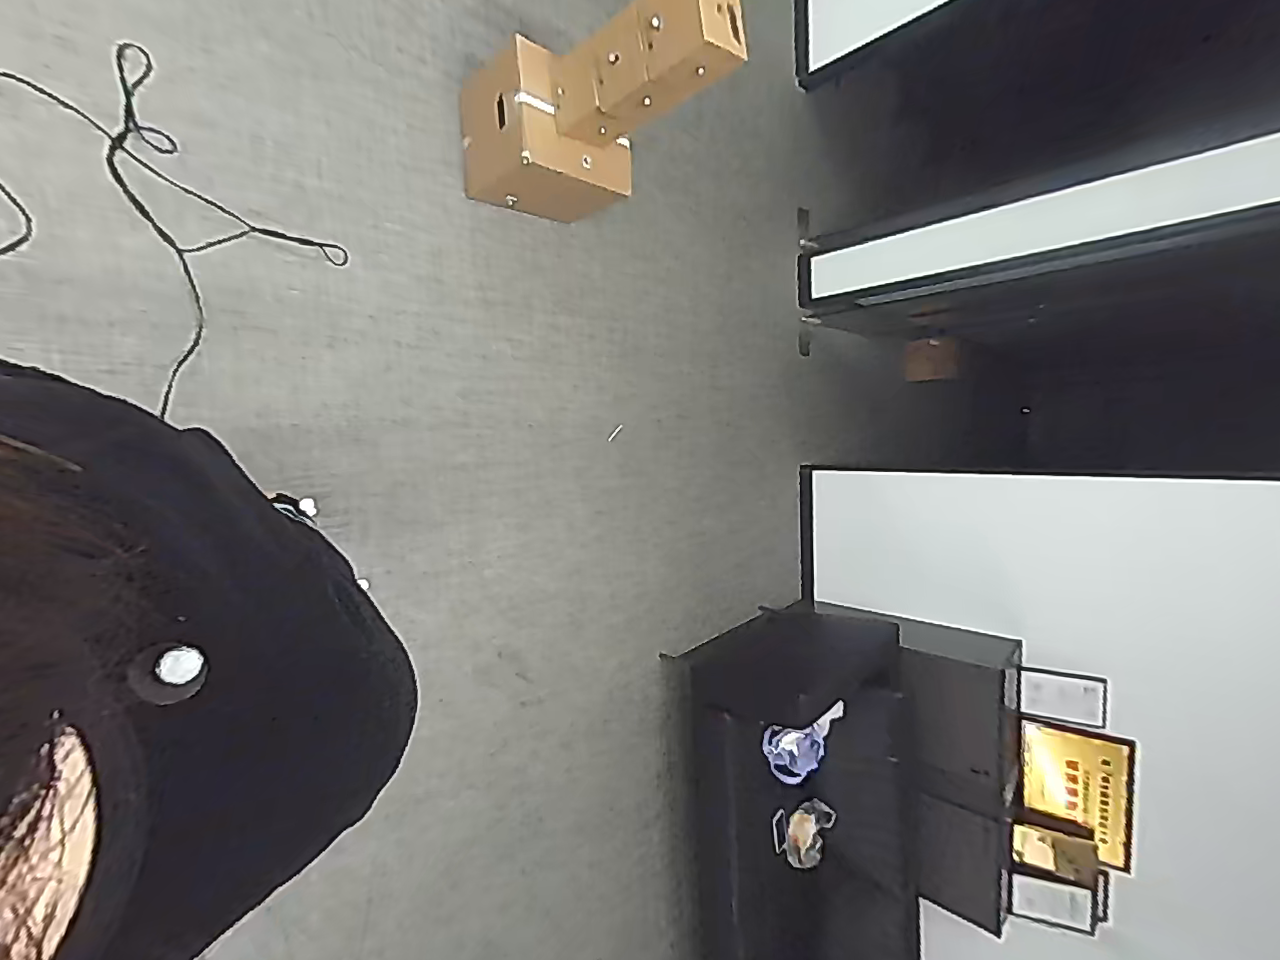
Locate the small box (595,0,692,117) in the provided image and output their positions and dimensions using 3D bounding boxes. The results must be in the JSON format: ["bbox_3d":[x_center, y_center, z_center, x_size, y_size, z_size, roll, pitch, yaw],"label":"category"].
[{"bbox_3d":[0.002,-1.049,1.358,0.179,0.176,0.168,-21,106,-43],"label":"small box"}]

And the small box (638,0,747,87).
[{"bbox_3d":[0.122,-1.046,1.244,0.179,0.176,0.168,-22,106,-43],"label":"small box"}]
